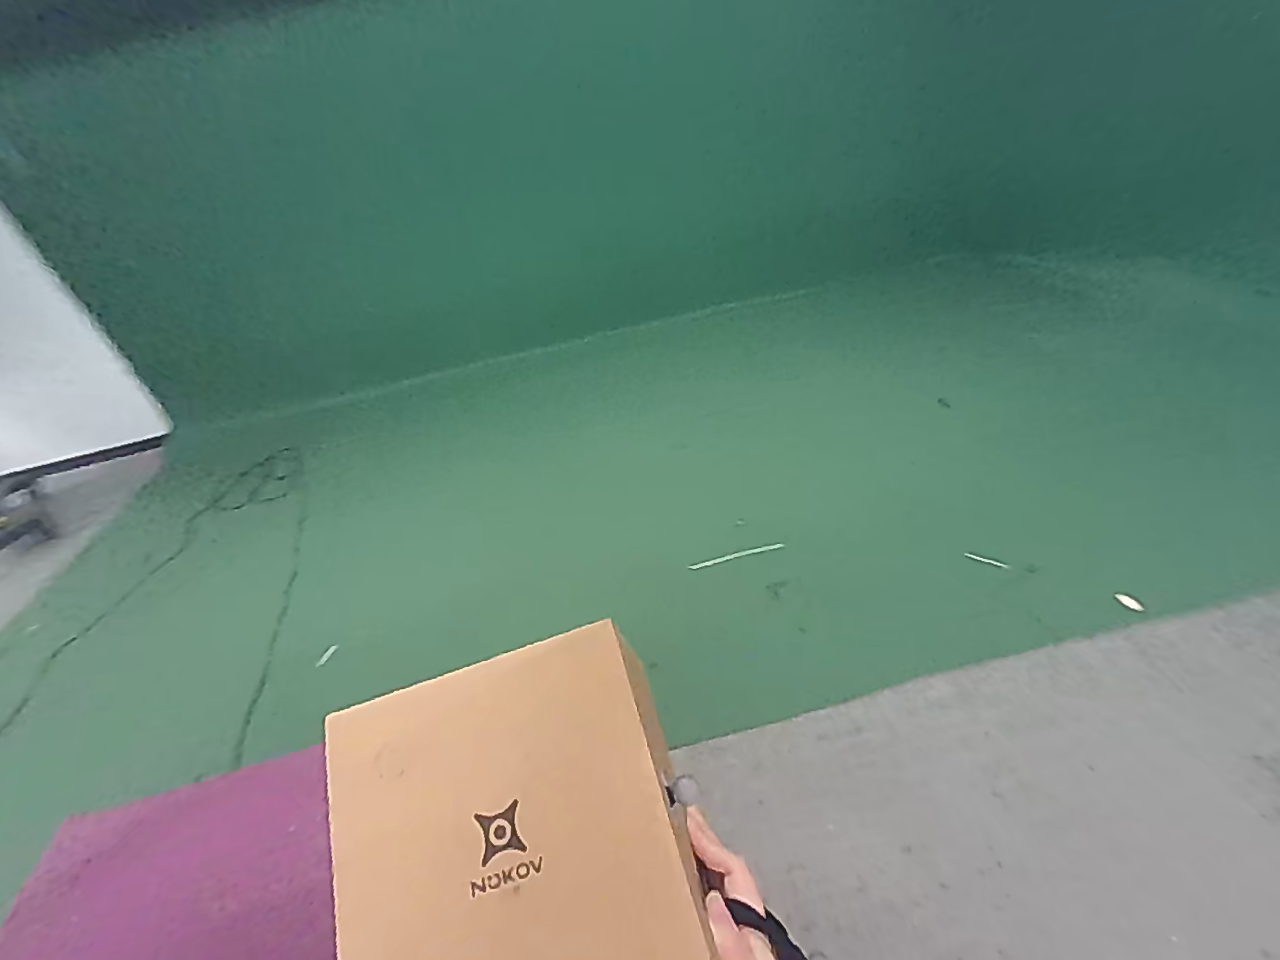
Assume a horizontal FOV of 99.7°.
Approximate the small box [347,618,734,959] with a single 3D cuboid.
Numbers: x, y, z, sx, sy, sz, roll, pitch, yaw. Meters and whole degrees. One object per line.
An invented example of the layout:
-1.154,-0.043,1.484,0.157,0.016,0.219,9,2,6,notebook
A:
-0.052,0.209,0.336,0.168,0.176,0.179,-18,65,-3,small box
